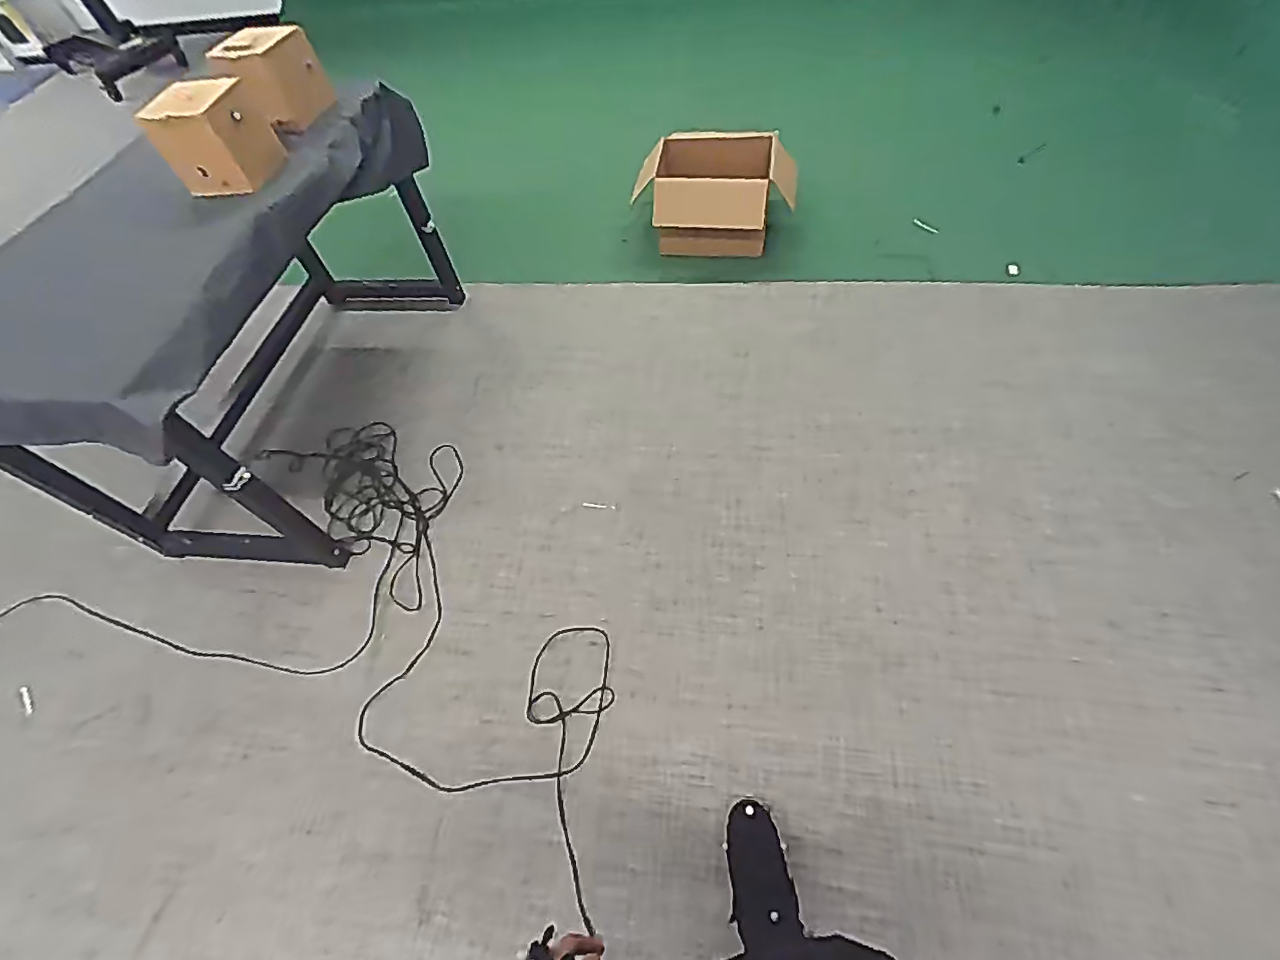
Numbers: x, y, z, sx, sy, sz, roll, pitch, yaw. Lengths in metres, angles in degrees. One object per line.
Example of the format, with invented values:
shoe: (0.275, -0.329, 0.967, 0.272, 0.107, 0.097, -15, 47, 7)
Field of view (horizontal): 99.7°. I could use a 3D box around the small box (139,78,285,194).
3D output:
small box: (-0.960, -0.783, 1.237, 0.168, 0.176, 0.179, 1, 58, 7)
